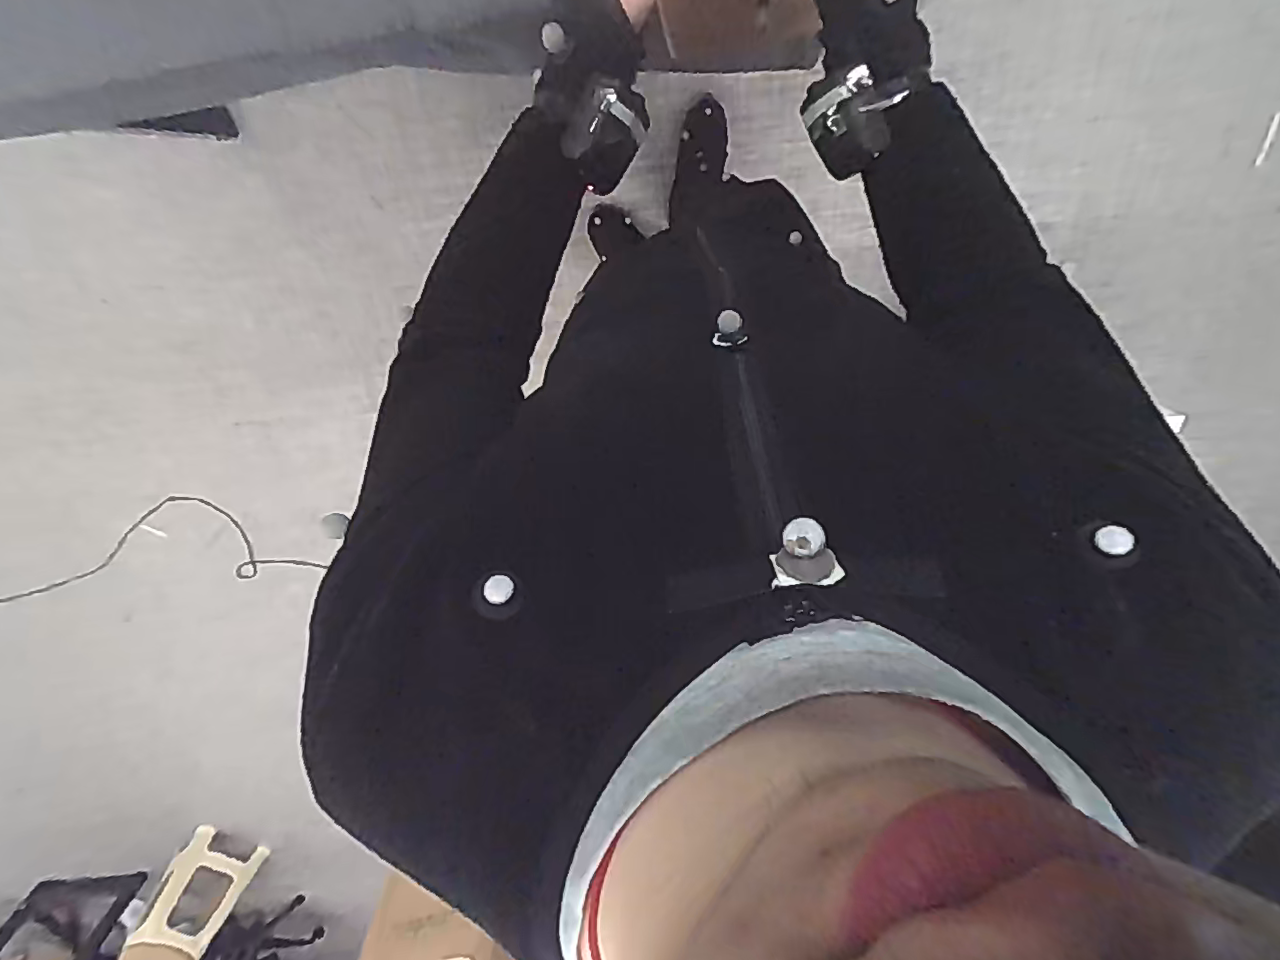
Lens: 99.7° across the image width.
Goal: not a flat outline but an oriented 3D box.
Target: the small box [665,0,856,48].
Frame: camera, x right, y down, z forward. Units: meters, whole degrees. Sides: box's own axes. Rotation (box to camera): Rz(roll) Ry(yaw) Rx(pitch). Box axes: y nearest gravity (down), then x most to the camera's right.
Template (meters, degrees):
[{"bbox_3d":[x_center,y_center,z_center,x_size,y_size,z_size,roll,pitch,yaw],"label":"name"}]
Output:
[{"bbox_3d":[0.099,-0.482,0.409,0.179,0.176,0.168,-1,87,13],"label":"small box"}]
